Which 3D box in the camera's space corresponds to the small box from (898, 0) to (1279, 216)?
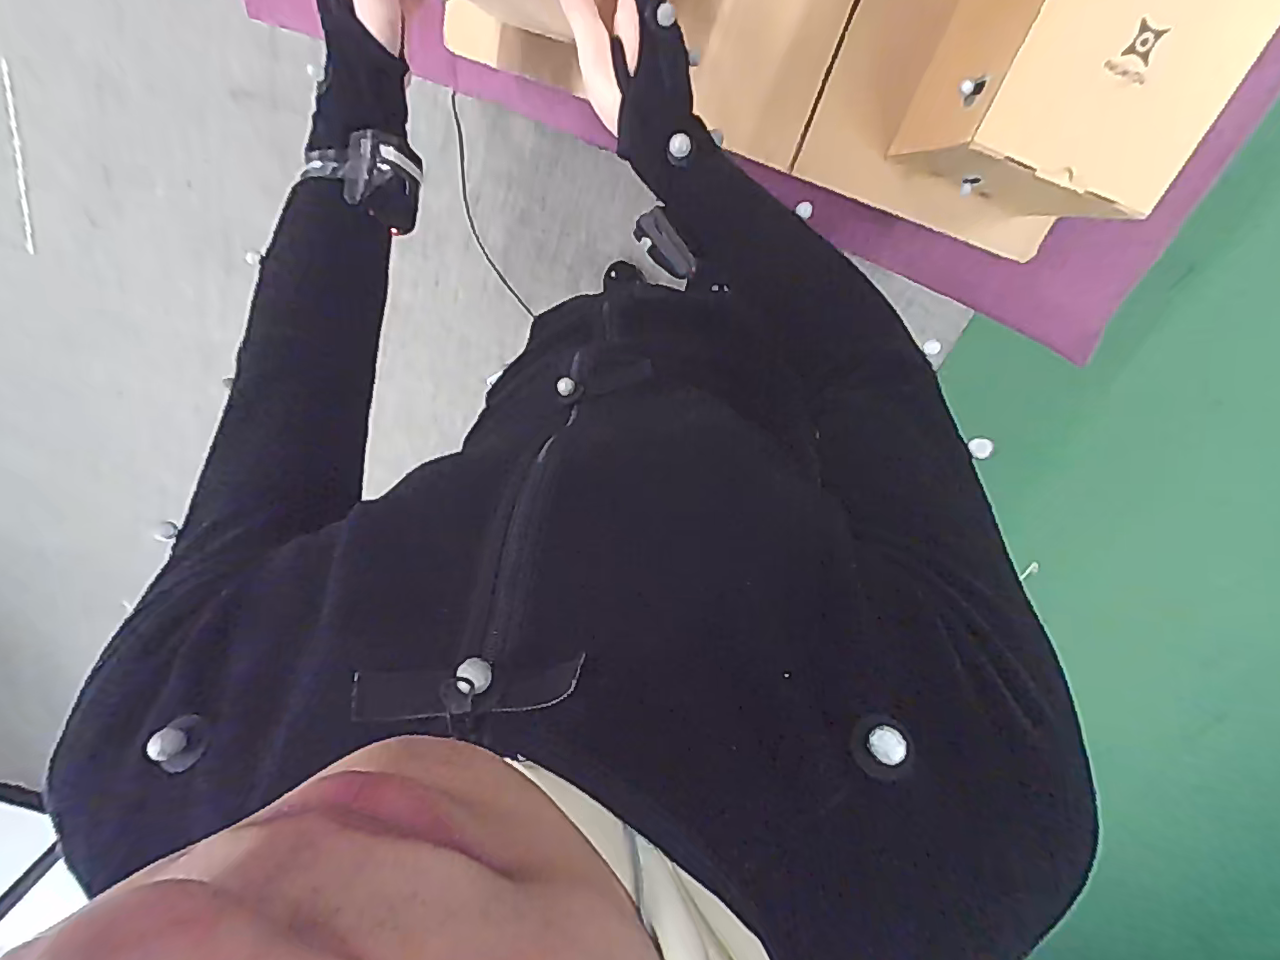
[{"bbox_3d":[0.352,-0.342,0.450,0.168,0.176,0.179,16,118,-8],"label":"small box"}]
